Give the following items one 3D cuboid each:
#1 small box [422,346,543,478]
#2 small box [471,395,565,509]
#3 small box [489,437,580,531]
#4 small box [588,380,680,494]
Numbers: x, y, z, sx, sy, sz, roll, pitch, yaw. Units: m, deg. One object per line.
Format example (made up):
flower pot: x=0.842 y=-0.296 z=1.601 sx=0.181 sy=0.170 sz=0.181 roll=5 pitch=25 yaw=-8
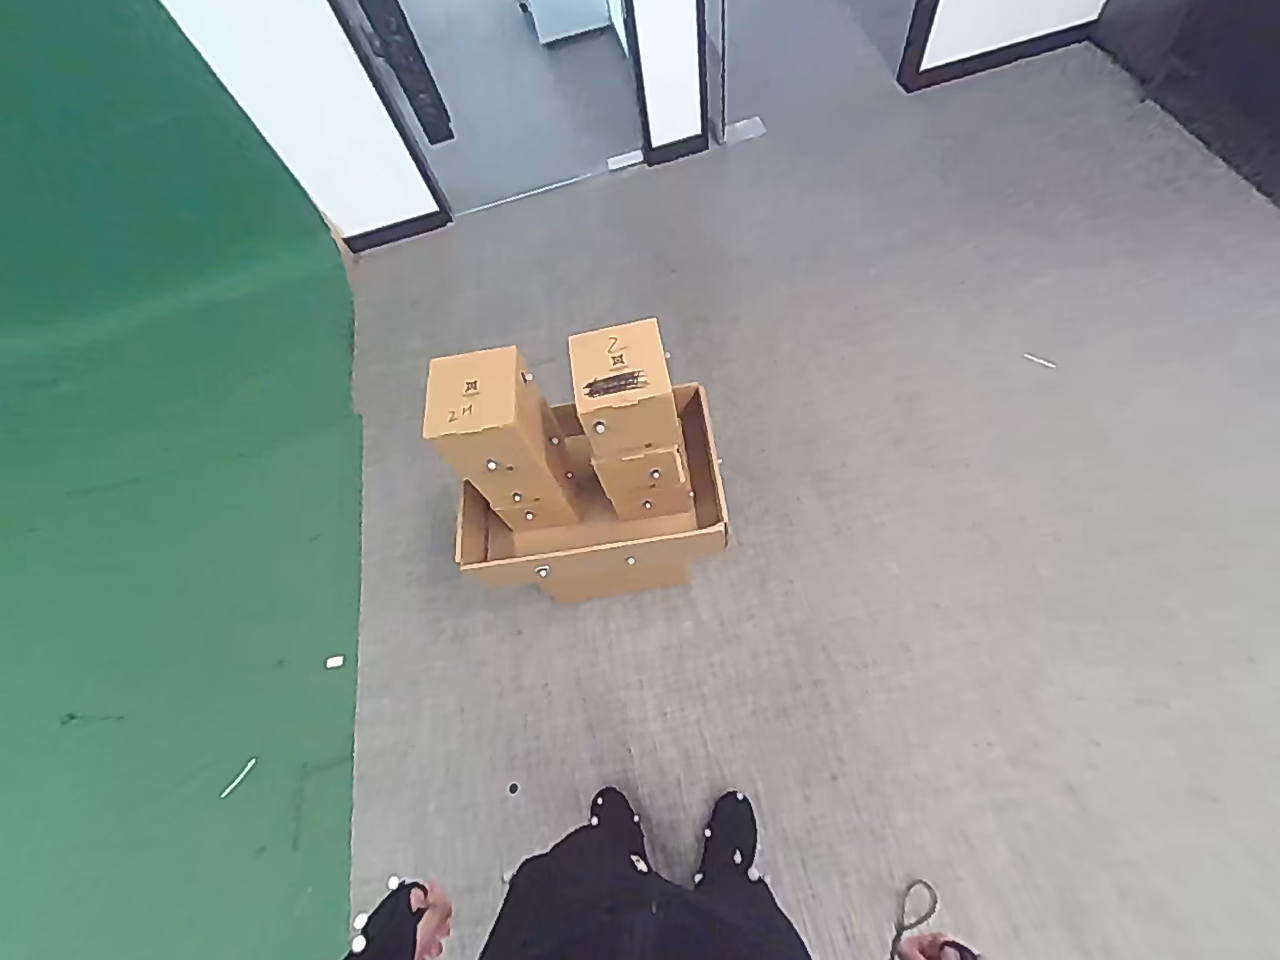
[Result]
small box: x=-0.287 y=-0.124 z=1.022 sx=0.168 sy=0.176 sz=0.179 roll=-7 pitch=63 yaw=5
small box: x=-0.262 y=-0.057 z=1.170 sx=0.168 sy=0.176 sz=0.179 roll=-8 pitch=63 yaw=4
small box: x=-0.250 y=0.016 z=1.317 sx=0.179 sy=0.176 sz=0.168 roll=-7 pitch=62 yaw=5
small box: x=-0.010 y=-0.081 z=1.141 sx=0.168 sy=0.176 sz=0.179 roll=-8 pitch=62 yaw=4
